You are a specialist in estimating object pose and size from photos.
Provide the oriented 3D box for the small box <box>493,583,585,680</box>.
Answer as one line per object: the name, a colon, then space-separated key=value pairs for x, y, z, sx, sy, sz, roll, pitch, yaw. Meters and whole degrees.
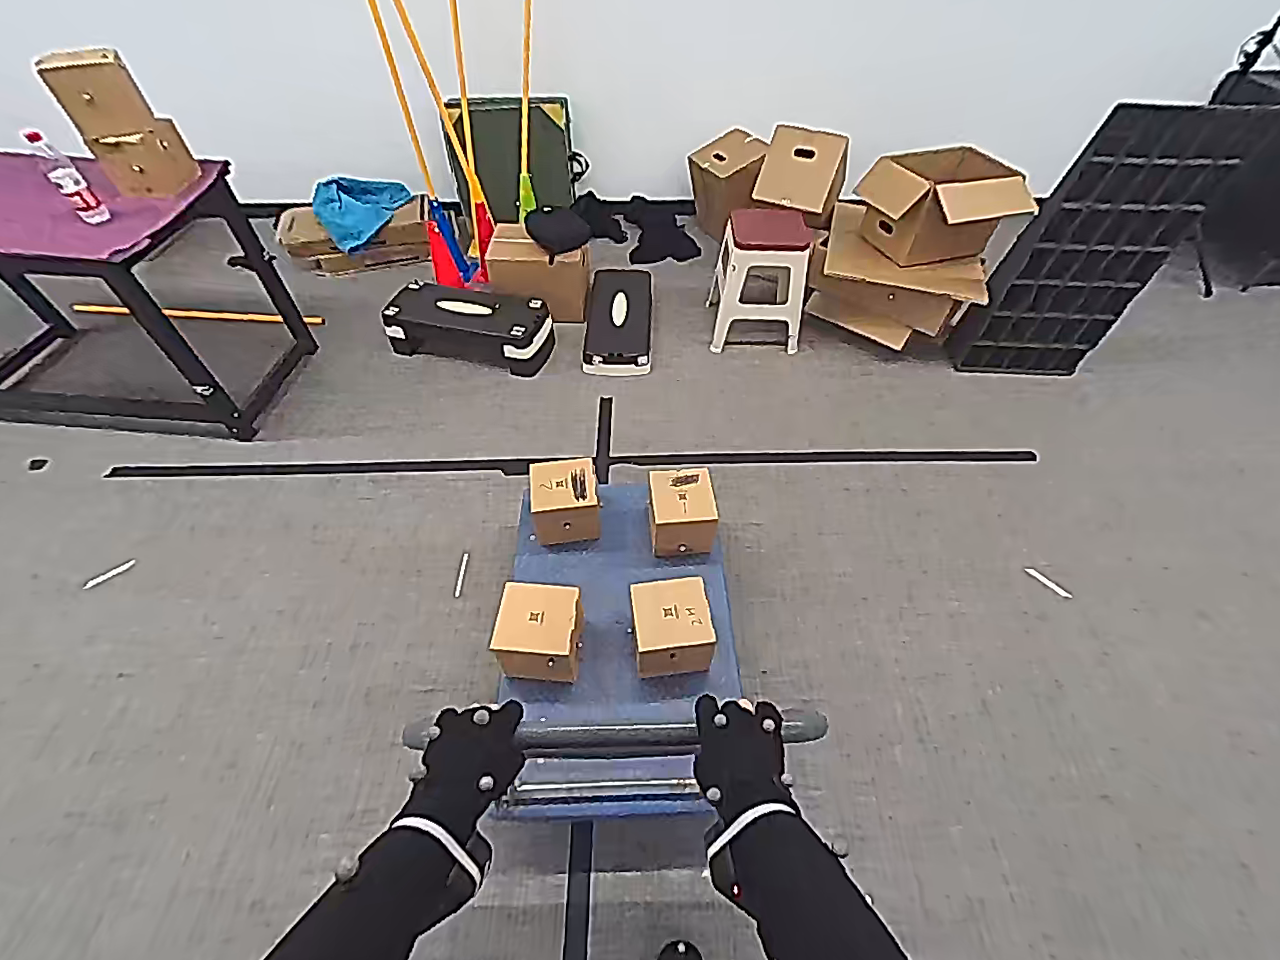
small box: x=-0.231 y=0.362 z=1.283 sx=0.179 sy=0.176 sz=0.168 roll=5 pitch=51 yaw=1

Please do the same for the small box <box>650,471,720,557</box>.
small box: x=0.118 y=0.096 z=1.502 sx=0.168 sy=0.176 sz=0.179 roll=-3 pitch=52 yaw=-3

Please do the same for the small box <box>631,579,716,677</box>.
small box: x=0.074 y=0.357 z=1.291 sx=0.179 sy=0.176 sz=0.168 roll=-5 pitch=52 yaw=-5
